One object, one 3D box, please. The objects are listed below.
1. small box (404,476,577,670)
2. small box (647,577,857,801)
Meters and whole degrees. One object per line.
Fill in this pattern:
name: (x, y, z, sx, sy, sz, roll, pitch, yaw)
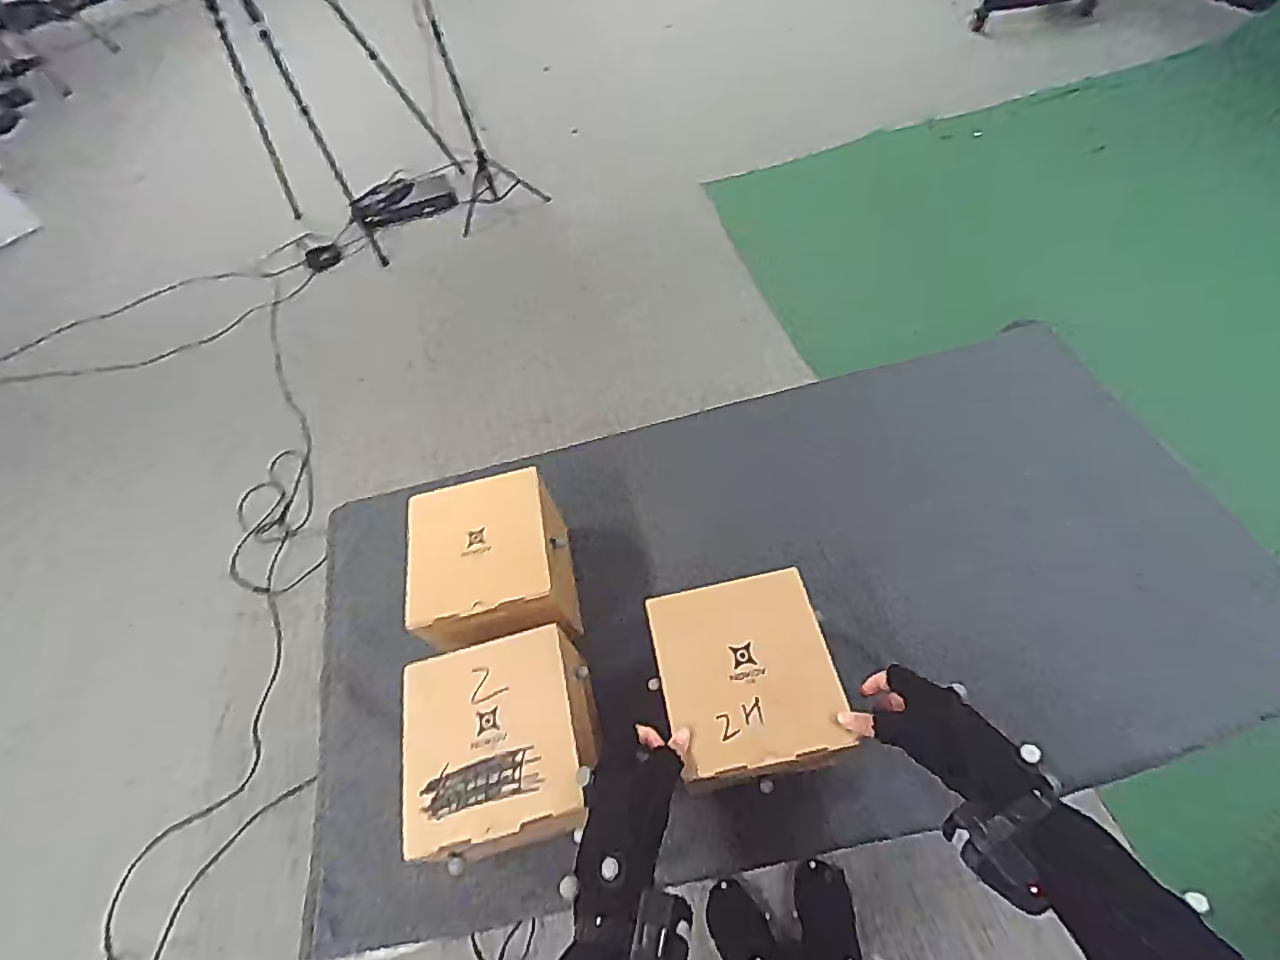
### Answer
small box: (-0.186, 0.125, 0.703, 0.168, 0.176, 0.179, -14, 57, -1)
small box: (0.107, 0.232, 0.590, 0.168, 0.176, 0.179, -12, 56, 0)
